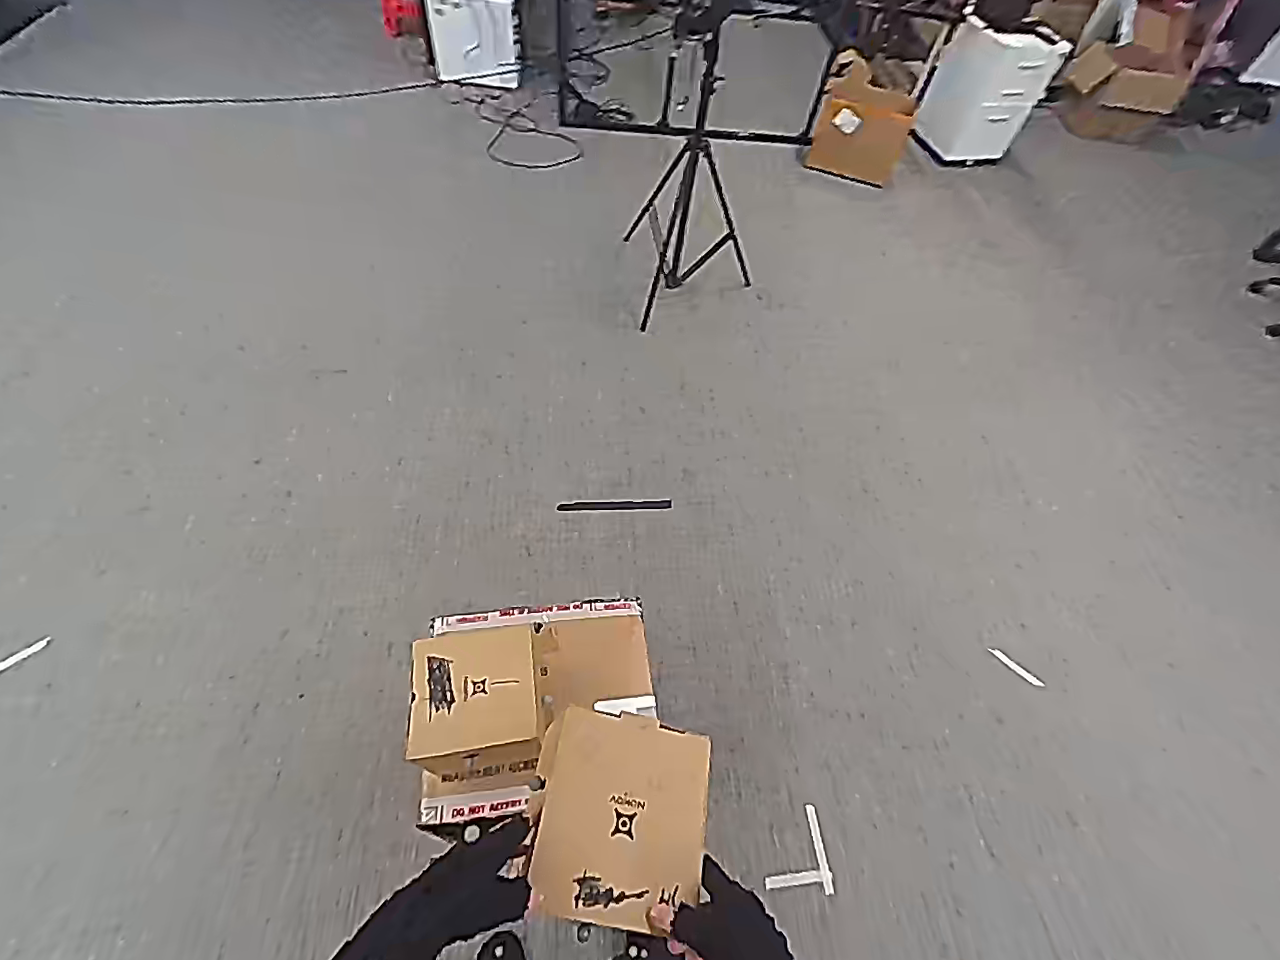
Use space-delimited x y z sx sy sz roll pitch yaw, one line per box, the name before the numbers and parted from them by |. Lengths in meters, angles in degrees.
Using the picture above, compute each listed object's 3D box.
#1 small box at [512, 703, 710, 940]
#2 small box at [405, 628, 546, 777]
small box | -0.034 0.369 0.592 0.168 0.176 0.179 17 53 -8
small box | -0.243 0.347 0.835 0.179 0.176 0.168 -6 56 -9
